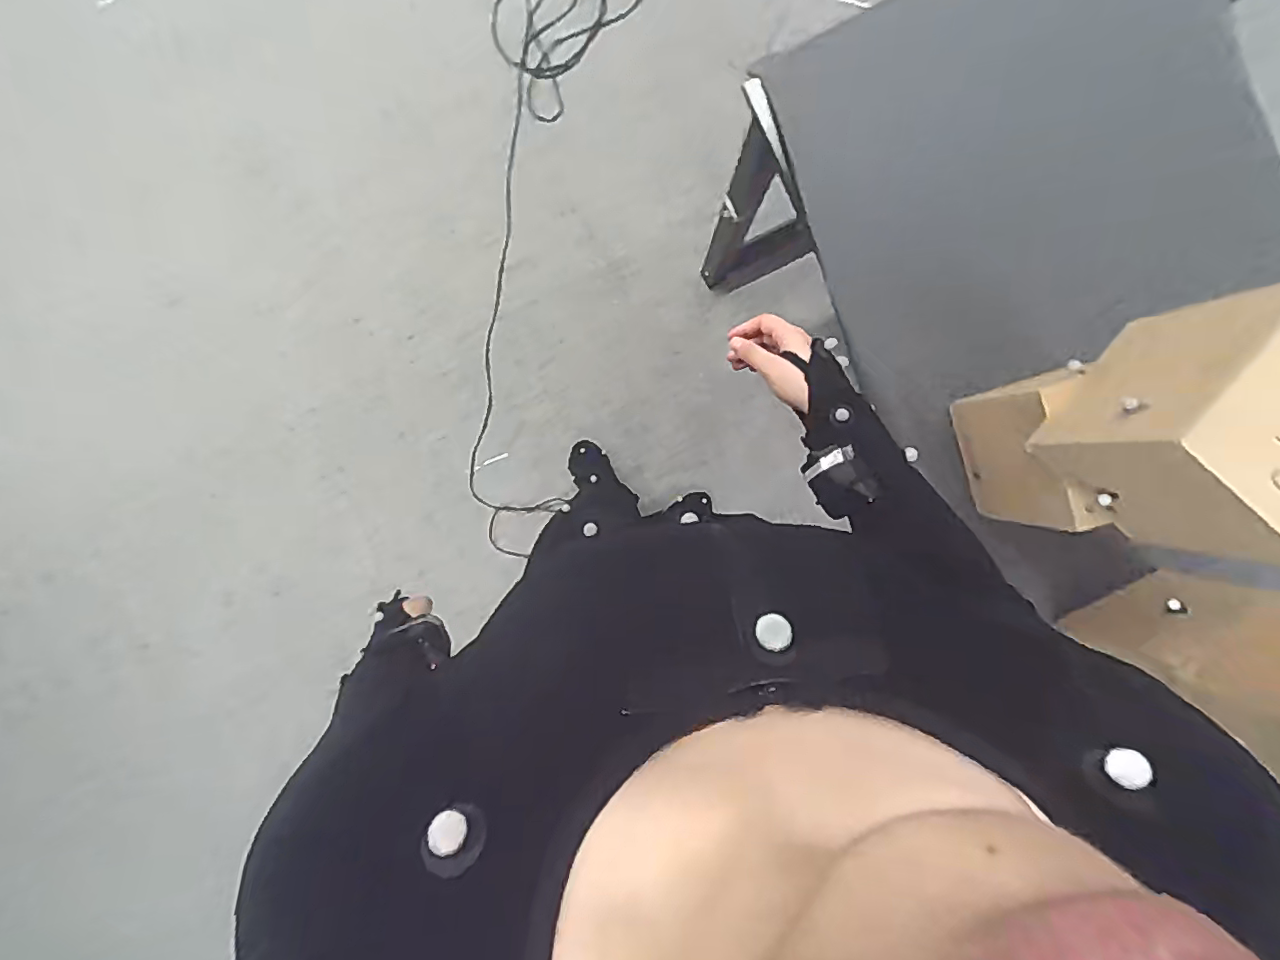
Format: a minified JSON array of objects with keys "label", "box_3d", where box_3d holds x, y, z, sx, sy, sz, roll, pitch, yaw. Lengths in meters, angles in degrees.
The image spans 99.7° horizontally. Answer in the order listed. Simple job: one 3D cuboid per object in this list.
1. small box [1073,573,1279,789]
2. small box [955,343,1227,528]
[{"label":"small box","box_3d":[0.698,0.235,0.678,0.179,0.176,0.168,-26,92,-2]},{"label":"small box","box_3d":[0.537,-0.052,0.667,0.179,0.176,0.168,-17,92,-1]}]
